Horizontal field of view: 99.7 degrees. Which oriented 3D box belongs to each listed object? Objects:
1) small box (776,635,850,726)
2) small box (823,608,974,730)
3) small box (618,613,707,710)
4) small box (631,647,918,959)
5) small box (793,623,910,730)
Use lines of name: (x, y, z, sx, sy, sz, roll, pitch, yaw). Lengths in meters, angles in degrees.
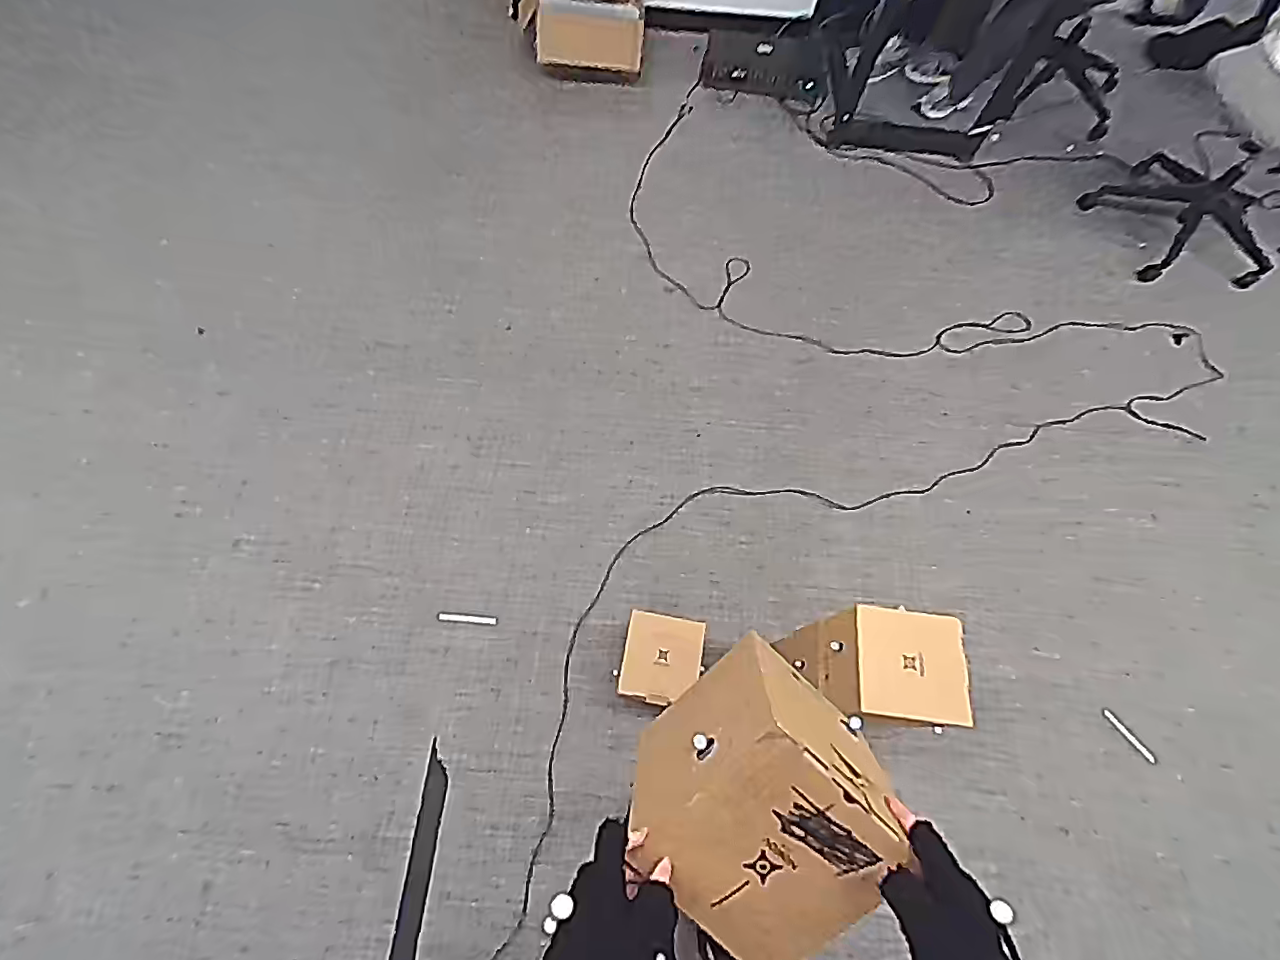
small box: (0.407, 0.455, 1.216, 0.179, 0.176, 0.168, 8, 67, 0)
small box: (0.421, 0.324, 0.915, 0.179, 0.176, 0.168, 8, 66, -1)
small box: (0.047, 0.412, 1.212, 0.168, 0.176, 0.179, 11, 66, 0)
small box: (0.112, 0.296, 0.517, 0.168, 0.176, 0.179, 42, 100, -1)
small box: (0.408, 0.390, 1.064, 0.179, 0.176, 0.168, 10, 66, 0)
